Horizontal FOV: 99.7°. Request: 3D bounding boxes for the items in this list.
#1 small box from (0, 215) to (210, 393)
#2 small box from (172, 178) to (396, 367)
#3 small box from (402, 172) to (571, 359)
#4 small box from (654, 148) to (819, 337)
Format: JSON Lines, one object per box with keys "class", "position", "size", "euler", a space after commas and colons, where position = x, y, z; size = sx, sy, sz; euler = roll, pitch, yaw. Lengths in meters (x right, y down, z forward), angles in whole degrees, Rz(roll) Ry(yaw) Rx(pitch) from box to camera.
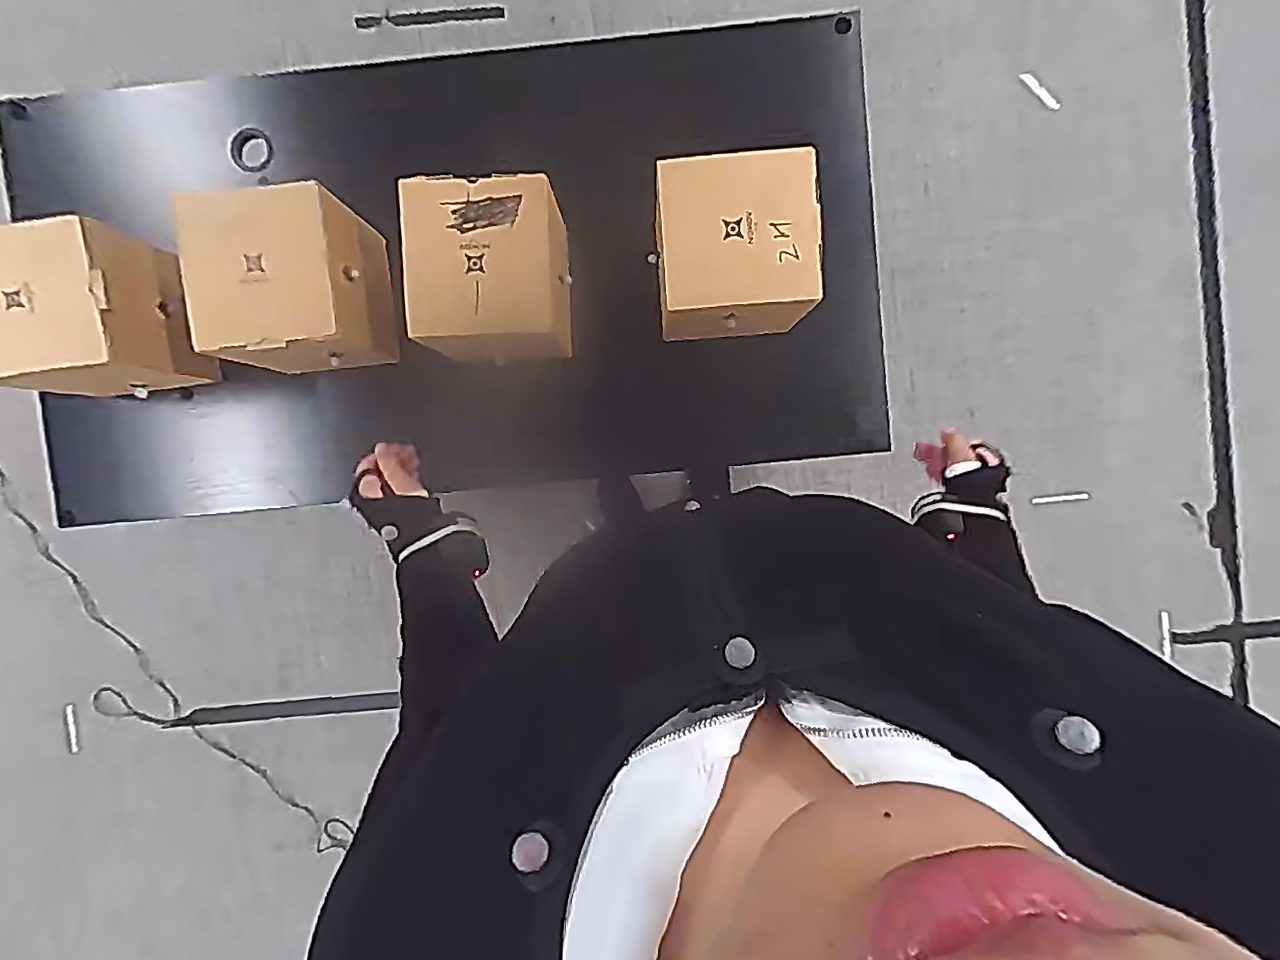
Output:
{"class": "small box", "position": [-0.689, -0.209, 0.684], "size": [0.179, 0.176, 0.168], "euler": [-8, 93, -1]}
{"class": "small box", "position": [-0.430, -0.244, 0.683], "size": [0.168, 0.176, 0.179], "euler": [-6, 92, 0]}
{"class": "small box", "position": [-0.180, -0.256, 0.679], "size": [0.168, 0.176, 0.179], "euler": [-2, 93, 1]}
{"class": "small box", "position": [0.109, -0.281, 0.676], "size": [0.179, 0.176, 0.168], "euler": [-4, 93, 1]}
